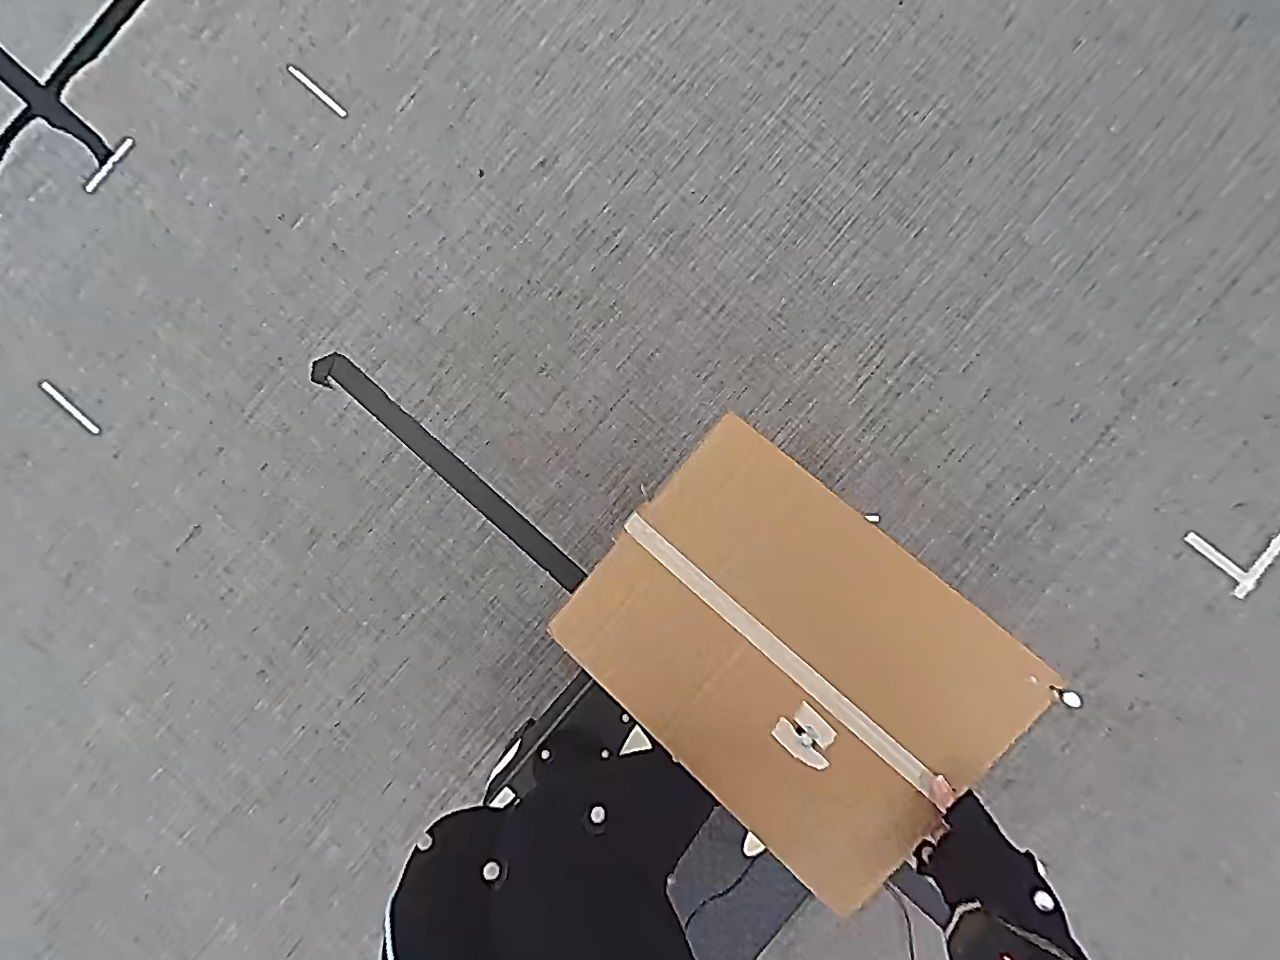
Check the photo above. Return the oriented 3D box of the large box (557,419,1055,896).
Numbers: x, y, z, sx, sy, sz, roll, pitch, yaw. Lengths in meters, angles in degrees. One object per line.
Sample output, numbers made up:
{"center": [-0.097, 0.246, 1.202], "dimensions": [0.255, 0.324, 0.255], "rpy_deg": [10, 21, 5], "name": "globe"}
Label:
{"center": [0.176, 0.179, 0.700], "dimensions": [0.408, 0.320, 0.320], "rpy_deg": [40, 96, 12], "name": "large box"}
